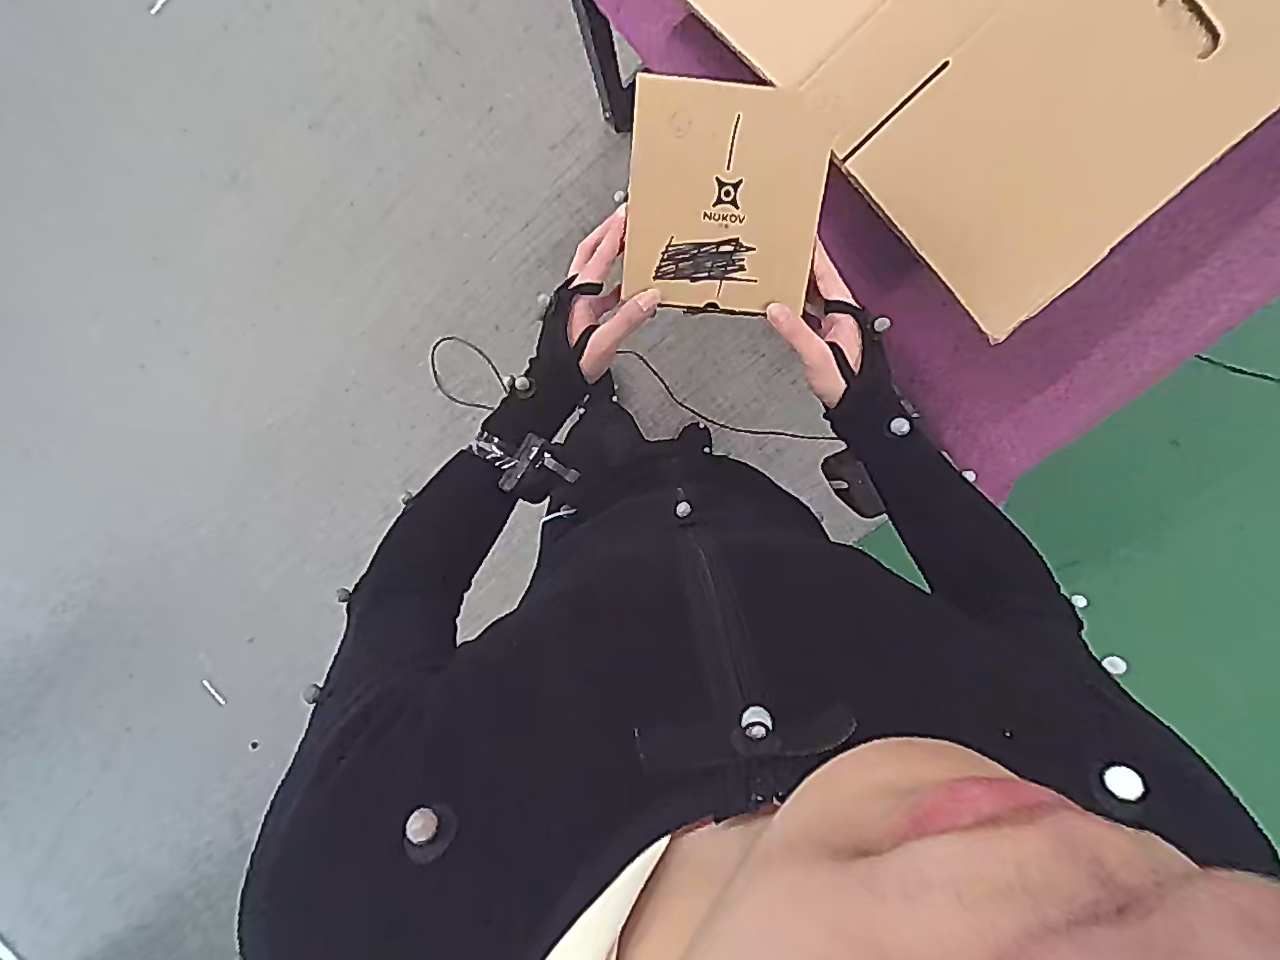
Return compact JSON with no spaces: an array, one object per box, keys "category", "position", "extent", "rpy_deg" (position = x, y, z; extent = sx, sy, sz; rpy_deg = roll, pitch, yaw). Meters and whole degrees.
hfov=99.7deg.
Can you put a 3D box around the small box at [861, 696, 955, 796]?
[{"category":"small box","position":[0.773,0.768,1.574],"extent":[0.168,0.176,0.179],"rpy_deg":[-23,93,8]}]

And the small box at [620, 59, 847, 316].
[{"category":"small box","position":[0.073,-0.261,0.521],"extent":[0.168,0.176,0.179],"rpy_deg":[6,109,-2]}]
